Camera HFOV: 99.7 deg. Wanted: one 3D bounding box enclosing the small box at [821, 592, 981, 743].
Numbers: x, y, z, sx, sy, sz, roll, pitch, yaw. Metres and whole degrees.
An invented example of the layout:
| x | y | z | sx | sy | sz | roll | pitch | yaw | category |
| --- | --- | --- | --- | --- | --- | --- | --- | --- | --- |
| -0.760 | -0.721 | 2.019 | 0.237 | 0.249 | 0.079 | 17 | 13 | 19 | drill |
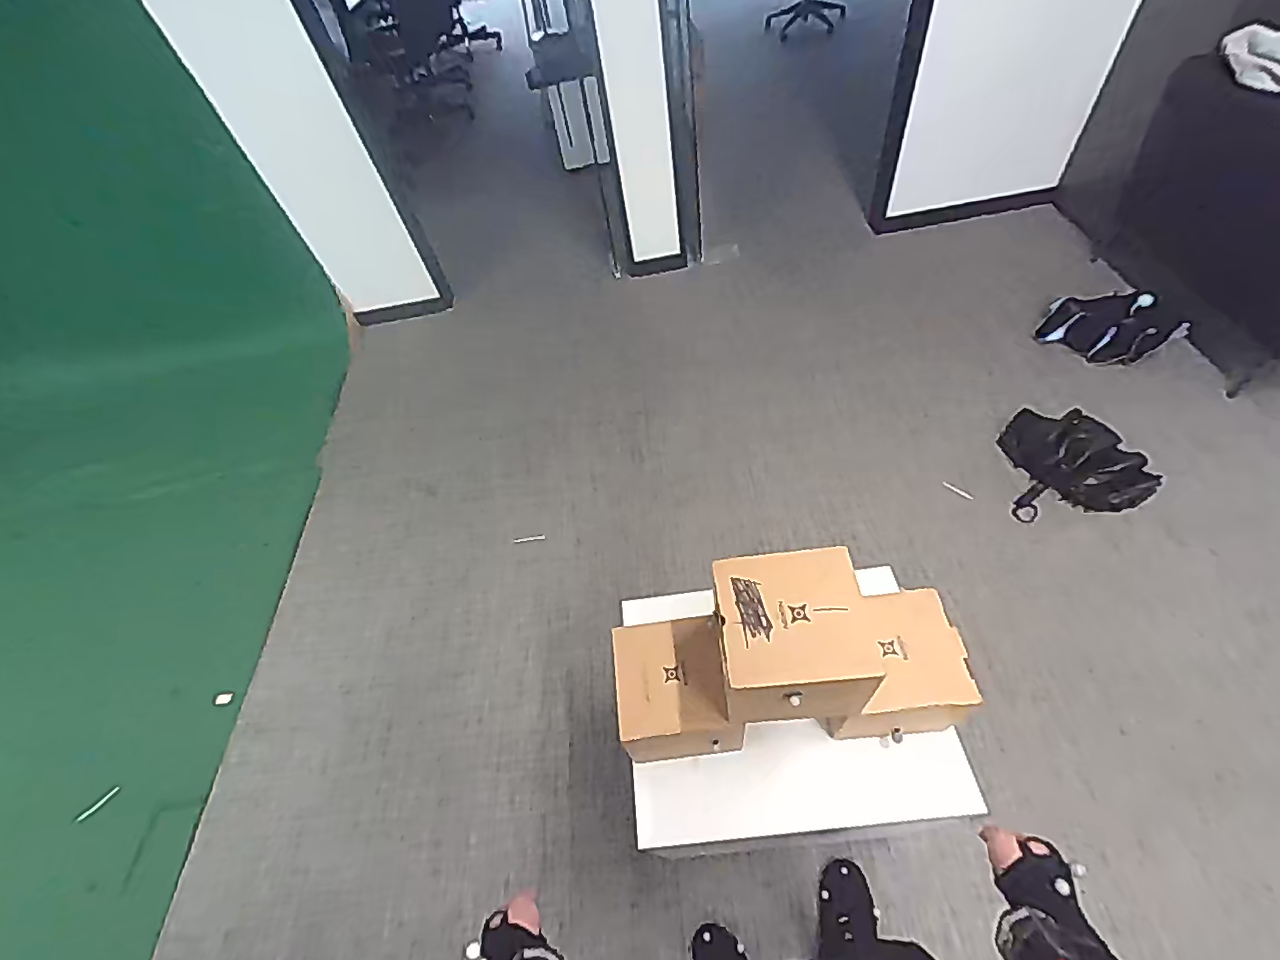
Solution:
| x | y | z | sx | sy | sz | roll | pitch | yaw | category |
| --- | --- | --- | --- | --- | --- | --- | --- | --- | --- |
| 0.364 | 0.287 | 0.818 | 0.179 | 0.176 | 0.168 | -7 | 52 | 3 | small box |

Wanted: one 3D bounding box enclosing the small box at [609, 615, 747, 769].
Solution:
| x | y | z | sx | sy | sz | roll | pitch | yaw | category |
| --- | --- | --- | --- | --- | --- | --- | --- | --- | --- |
| 0.054 | 0.326 | 0.823 | 0.179 | 0.176 | 0.168 | -9 | 51 | 0 | small box |

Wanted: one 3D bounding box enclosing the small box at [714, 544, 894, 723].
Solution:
| x | y | z | sx | sy | sz | roll | pitch | yaw | category |
| --- | --- | --- | --- | --- | --- | --- | --- | --- | --- |
| 0.193 | 0.202 | 0.695 | 0.179 | 0.176 | 0.168 | -6 | 52 | 2 | small box |
